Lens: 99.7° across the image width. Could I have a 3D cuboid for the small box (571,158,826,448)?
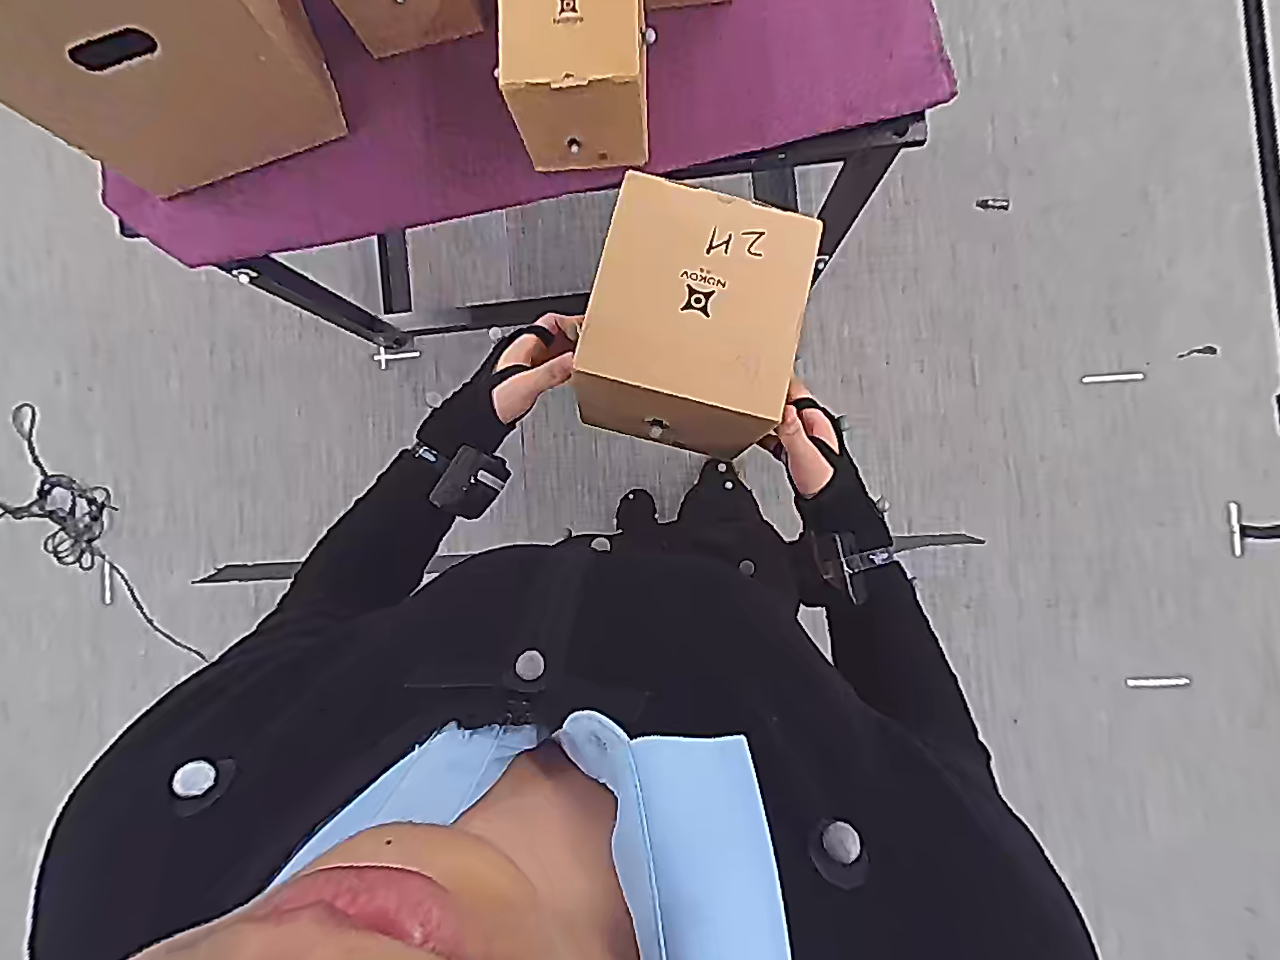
[{"bbox_3d":[0.044,-0.140,0.493,0.168,0.176,0.179,15,80,-1],"label":"small box"}]
